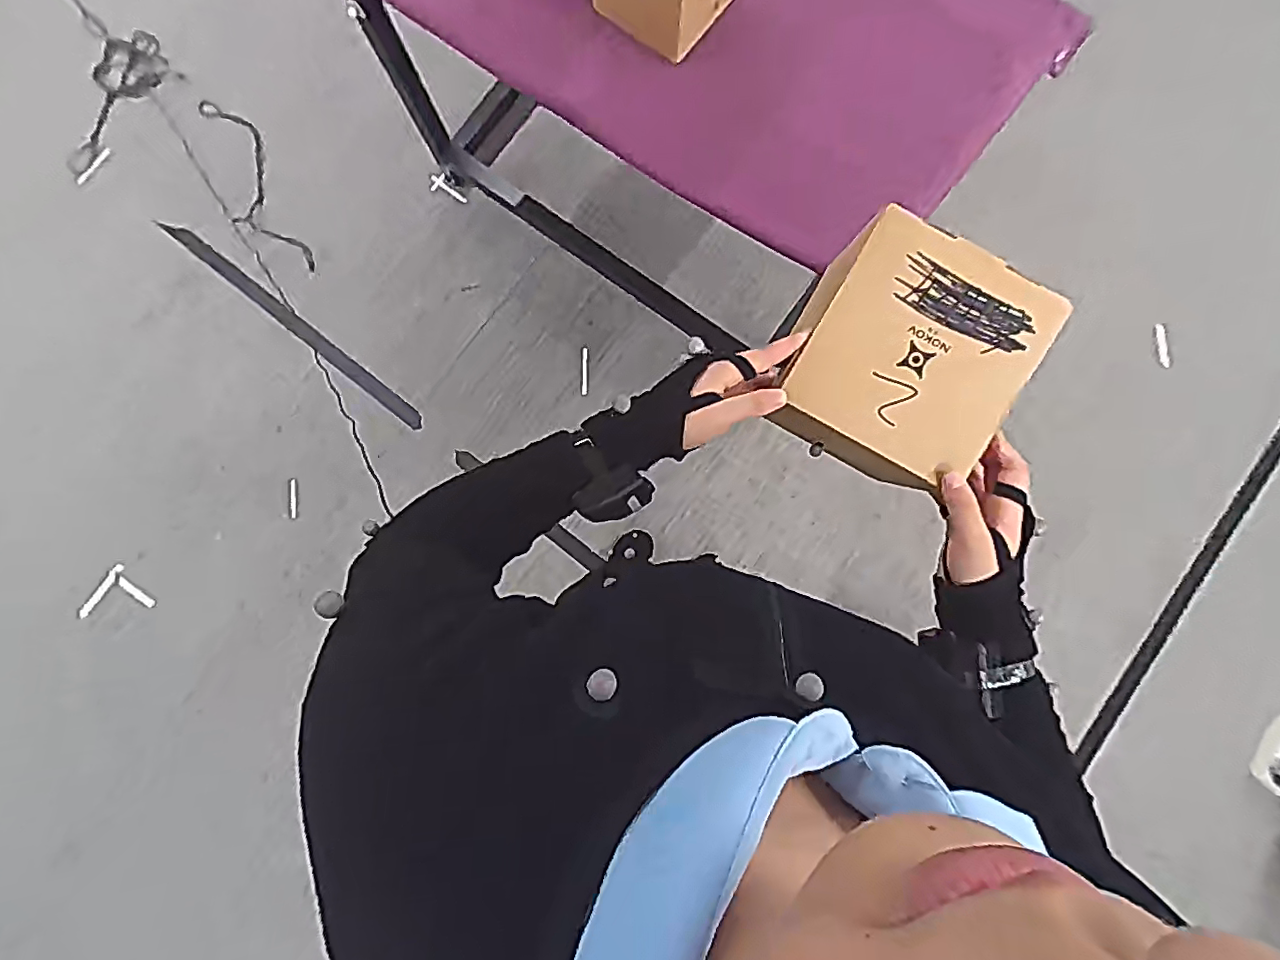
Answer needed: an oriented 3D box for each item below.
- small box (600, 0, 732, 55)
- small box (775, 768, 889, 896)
[{"bbox_3d":[0.048,-0.792,0.803,0.179,0.176,0.168,37,85,3],"label":"small box"},{"bbox_3d":[0.454,0.836,1.309,0.179,0.176,0.168,34,86,3],"label":"small box"}]
